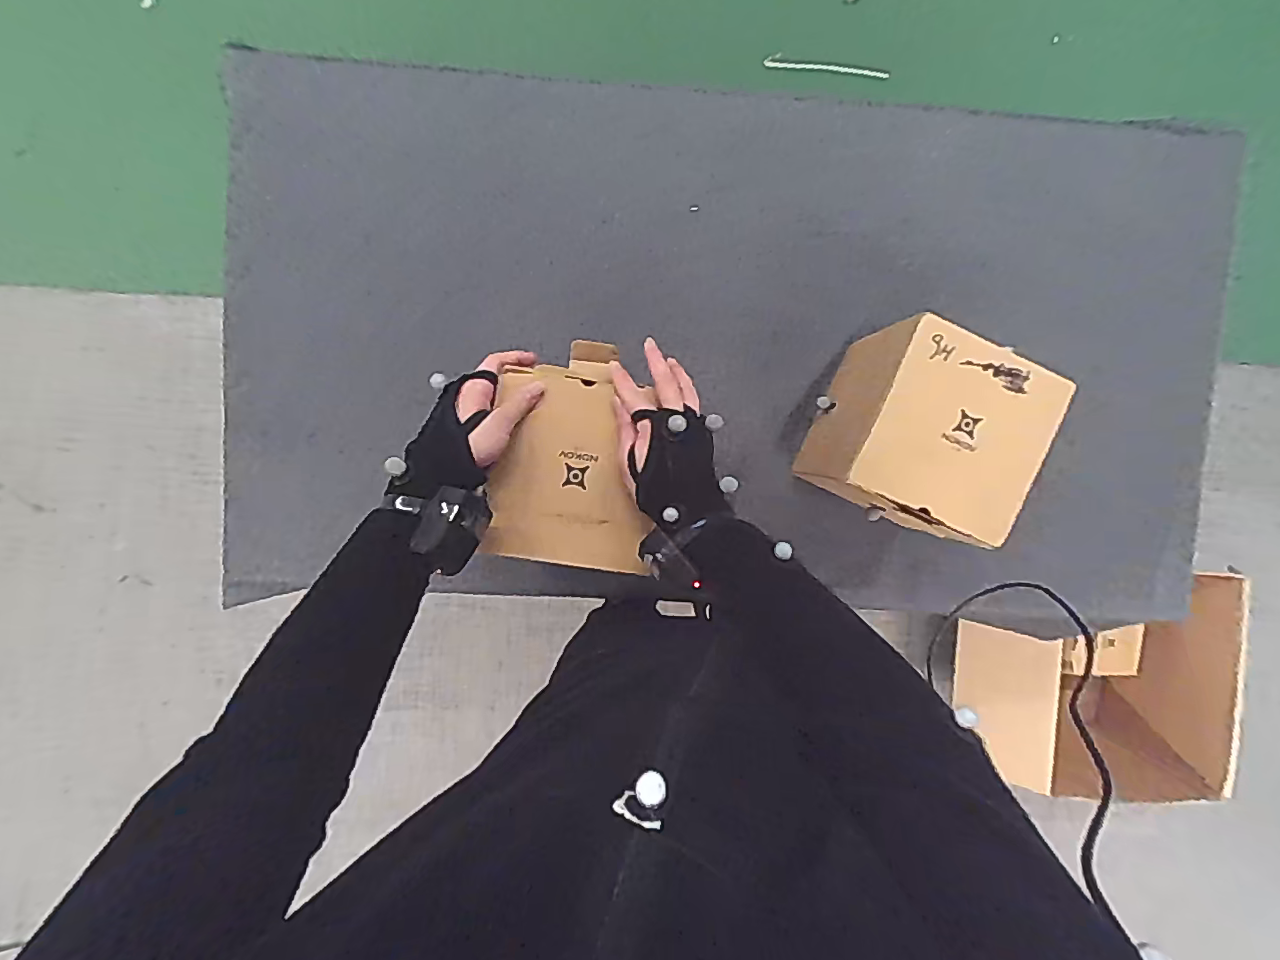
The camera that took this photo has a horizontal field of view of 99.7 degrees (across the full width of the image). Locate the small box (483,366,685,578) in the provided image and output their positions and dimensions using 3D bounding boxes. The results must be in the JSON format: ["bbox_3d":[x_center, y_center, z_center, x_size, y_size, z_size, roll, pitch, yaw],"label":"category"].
[{"bbox_3d":[-0.054,-0.010,0.565,0.168,0.176,0.179,7,94,-2],"label":"small box"}]

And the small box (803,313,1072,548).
[{"bbox_3d":[0.300,-0.050,0.593,0.168,0.176,0.179,25,93,-3],"label":"small box"}]
